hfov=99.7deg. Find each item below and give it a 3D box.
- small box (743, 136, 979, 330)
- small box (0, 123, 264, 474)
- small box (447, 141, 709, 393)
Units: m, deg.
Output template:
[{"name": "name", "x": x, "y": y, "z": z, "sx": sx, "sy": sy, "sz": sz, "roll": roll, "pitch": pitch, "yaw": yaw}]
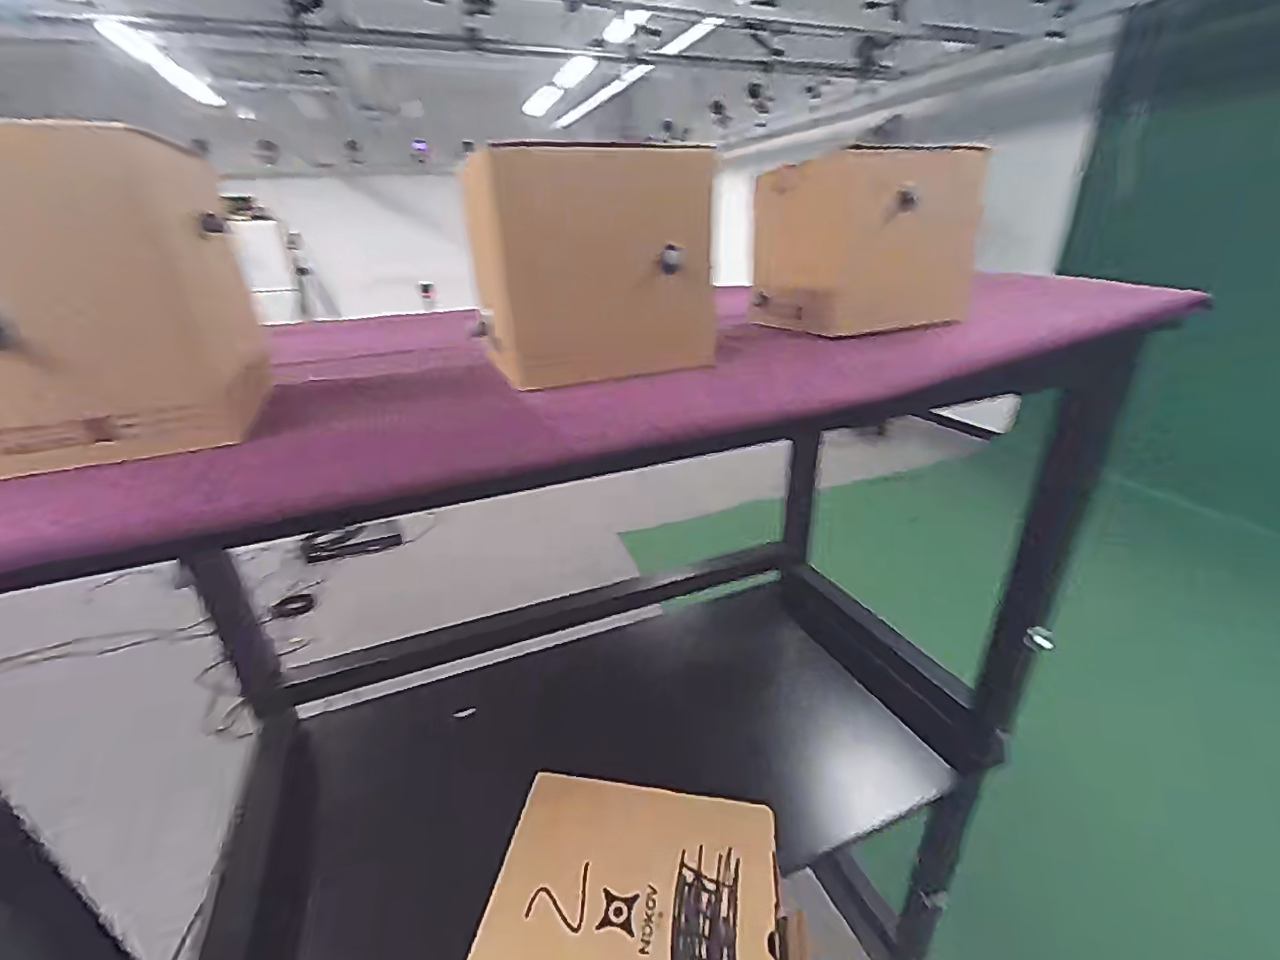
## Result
[{"name": "small box", "x": 0.231, "y": -0.265, "z": 0.600, "sx": 0.179, "sy": 0.176, "sz": 0.168, "roll": -12, "pitch": 25, "yaw": -18}, {"name": "small box", "x": -0.358, "y": -0.108, "z": 0.330, "sx": 0.168, "sy": 0.176, "sz": 0.179, "roll": -12, "pitch": 28, "yaw": -22}, {"name": "small box", "x": -0.056, "y": -0.186, "z": 0.473, "sx": 0.179, "sy": 0.176, "sz": 0.168, "roll": -14, "pitch": 27, "yaw": -20}]
